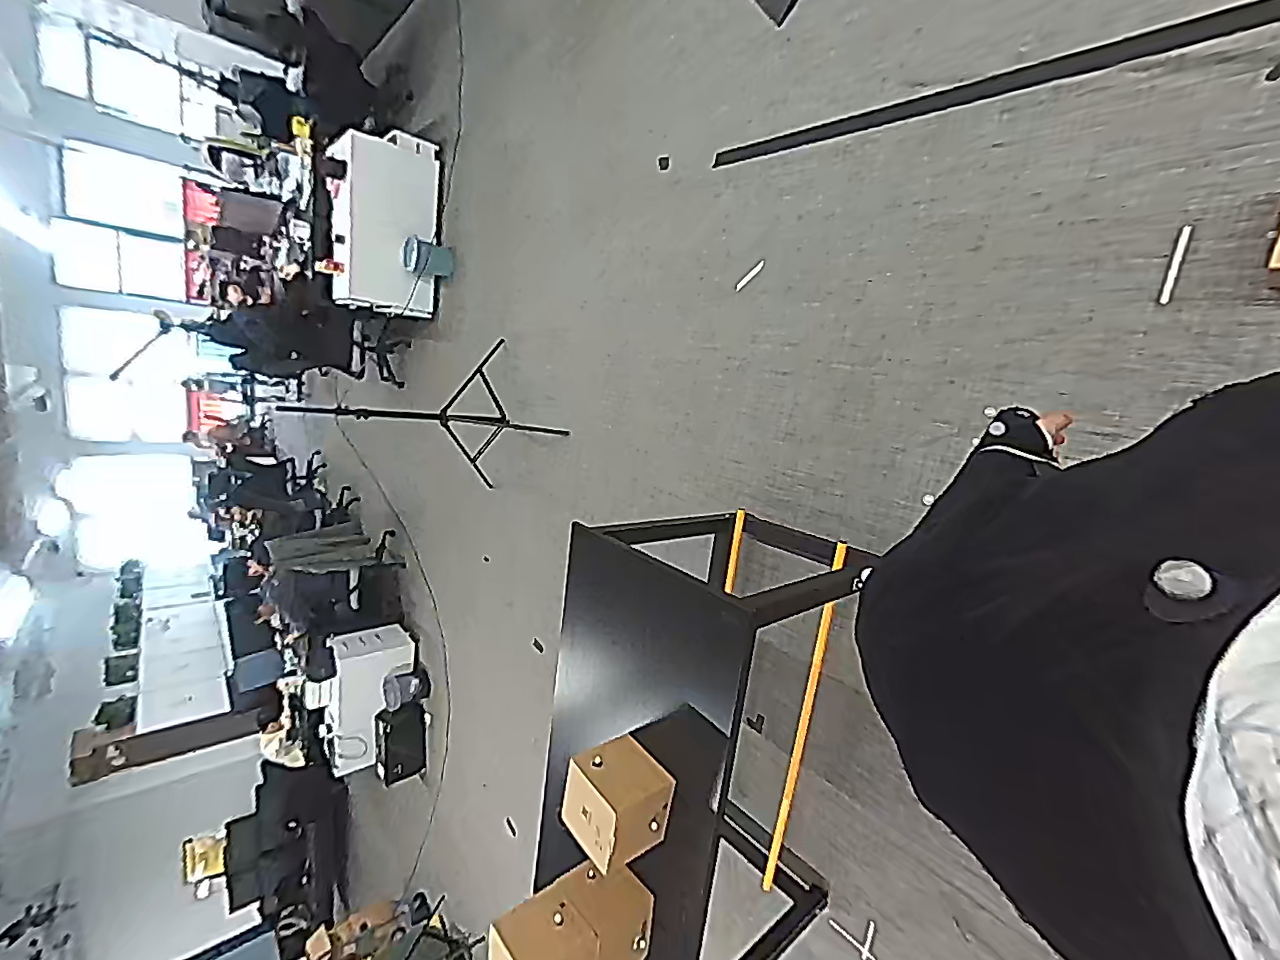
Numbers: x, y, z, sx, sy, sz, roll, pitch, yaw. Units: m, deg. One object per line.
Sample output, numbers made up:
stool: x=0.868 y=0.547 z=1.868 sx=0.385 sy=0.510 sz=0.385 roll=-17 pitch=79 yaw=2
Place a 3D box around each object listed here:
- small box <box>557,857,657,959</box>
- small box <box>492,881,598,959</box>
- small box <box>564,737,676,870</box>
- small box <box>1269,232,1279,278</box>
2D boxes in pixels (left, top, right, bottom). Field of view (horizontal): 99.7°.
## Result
small box: x=-0.084 y=1.025 z=1.277 sx=0.179 sy=0.176 sz=0.168 roll=13 pitch=103 yaw=47
small box: x=-0.205 y=1.034 z=1.167 sx=0.168 sy=0.176 sz=0.179 roll=13 pitch=102 yaw=48
small box: x=-0.046 y=0.709 z=1.214 sx=0.179 sy=0.176 sz=0.168 roll=25 pitch=111 yaw=45
small box: x=1.170 y=-0.425 z=0.873 sx=0.168 sy=0.176 sz=0.179 roll=19 pitch=107 yaw=47
